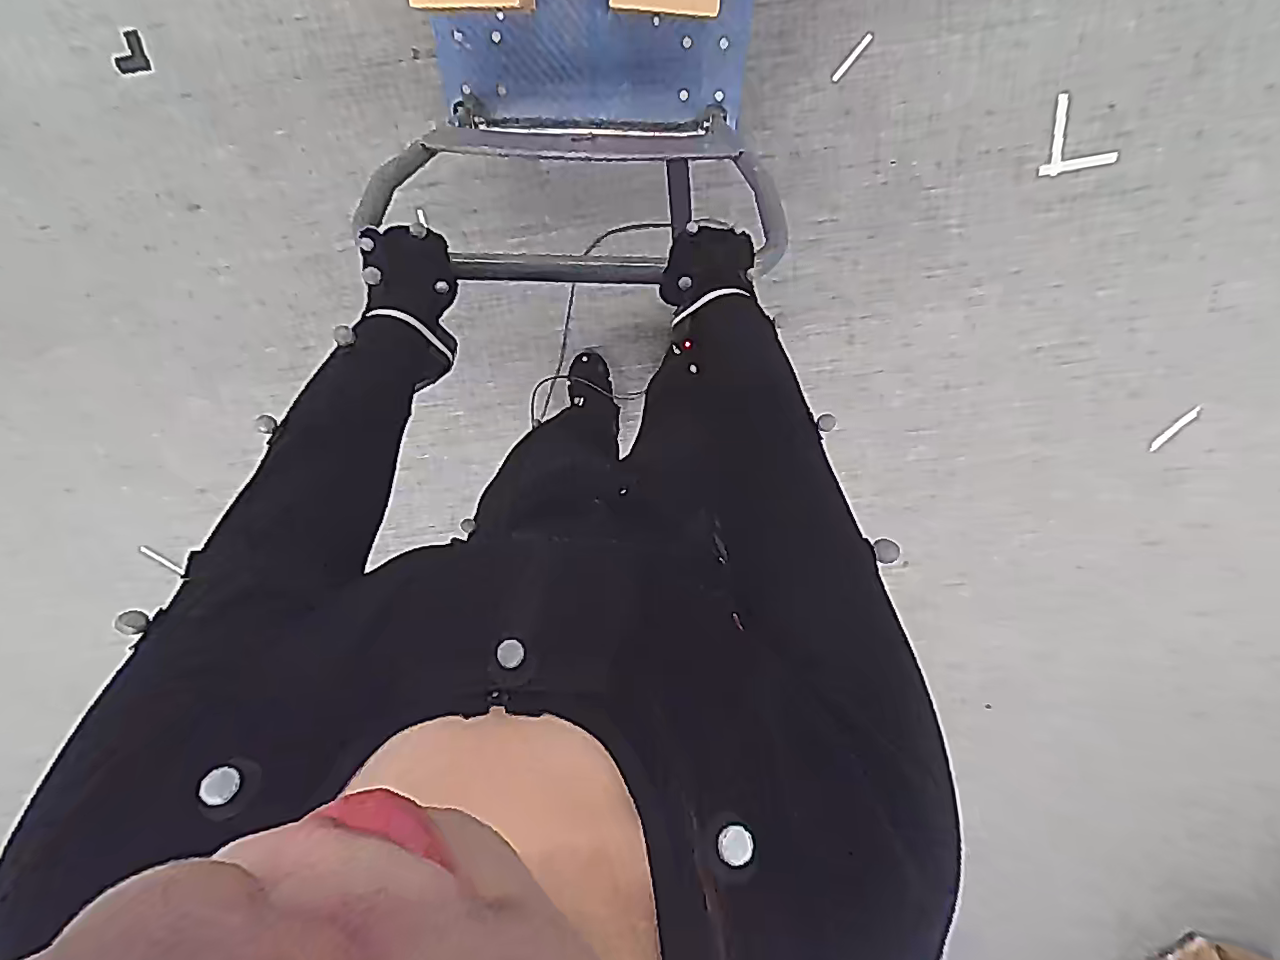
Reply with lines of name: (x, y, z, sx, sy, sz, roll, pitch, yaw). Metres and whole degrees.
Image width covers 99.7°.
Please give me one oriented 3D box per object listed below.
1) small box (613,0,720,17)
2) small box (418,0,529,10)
small box: (0.043, -0.850, 0.854, 0.179, 0.176, 0.168, 3, 129, -3)
small box: (-0.274, -0.853, 0.847, 0.179, 0.176, 0.168, -3, 128, -1)
